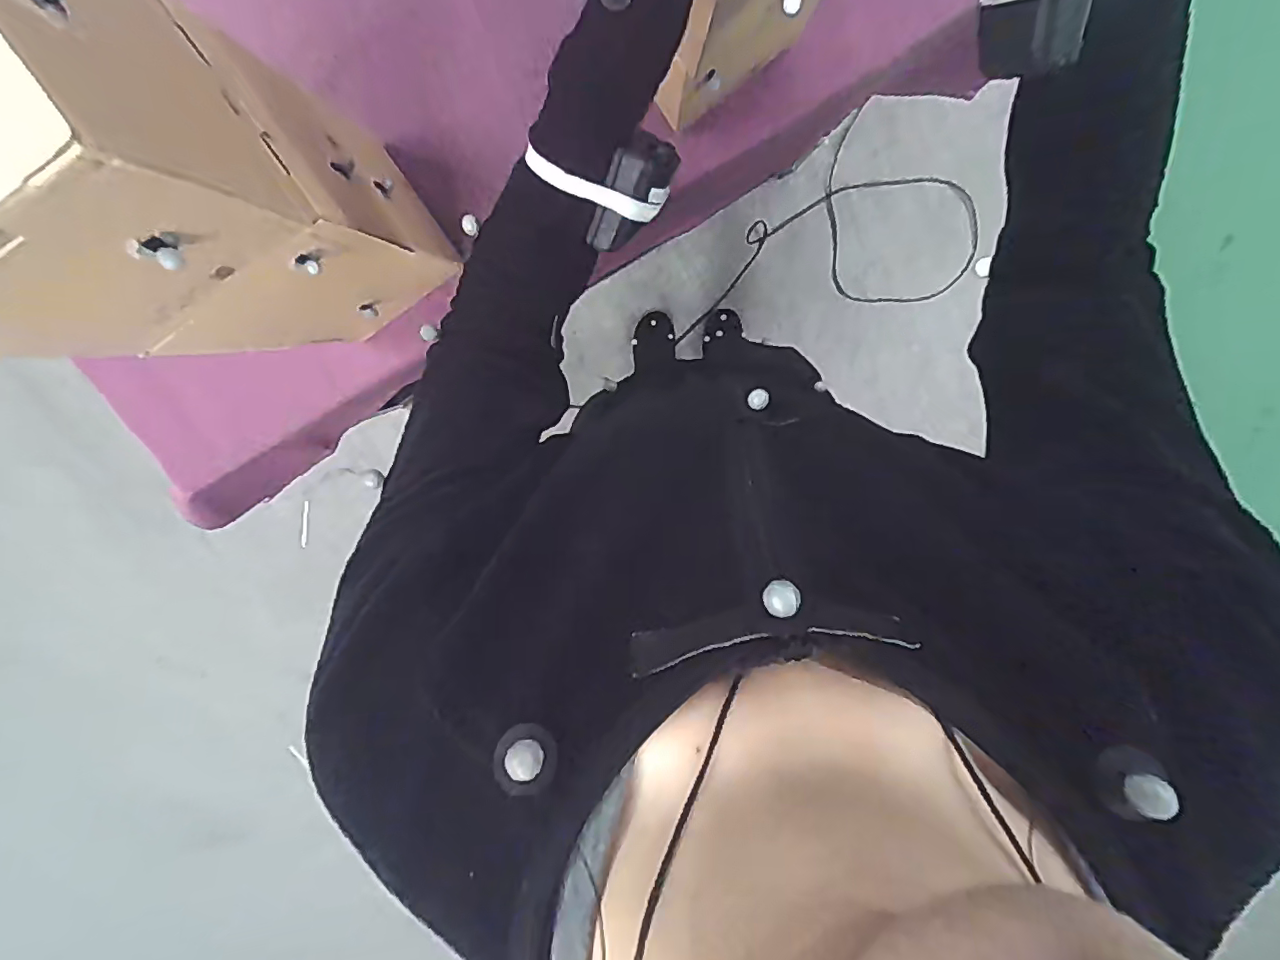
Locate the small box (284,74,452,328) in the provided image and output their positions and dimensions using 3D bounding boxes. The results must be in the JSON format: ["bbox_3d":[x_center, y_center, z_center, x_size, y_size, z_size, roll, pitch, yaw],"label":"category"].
[{"bbox_3d":[-0.341,-0.278,0.592,0.179,0.176,0.168,-32,104,8],"label":"small box"}]

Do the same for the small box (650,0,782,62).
[{"bbox_3d":[0.062,-0.446,0.369,0.168,0.176,0.179,-33,107,11],"label":"small box"}]

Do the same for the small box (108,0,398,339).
[{"bbox_3d":[-0.339,-0.227,0.437,0.179,0.176,0.168,-31,103,7],"label":"small box"}]

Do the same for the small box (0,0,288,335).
[{"bbox_3d":[-0.338,-0.188,0.280,0.168,0.176,0.179,-30,103,6],"label":"small box"}]
